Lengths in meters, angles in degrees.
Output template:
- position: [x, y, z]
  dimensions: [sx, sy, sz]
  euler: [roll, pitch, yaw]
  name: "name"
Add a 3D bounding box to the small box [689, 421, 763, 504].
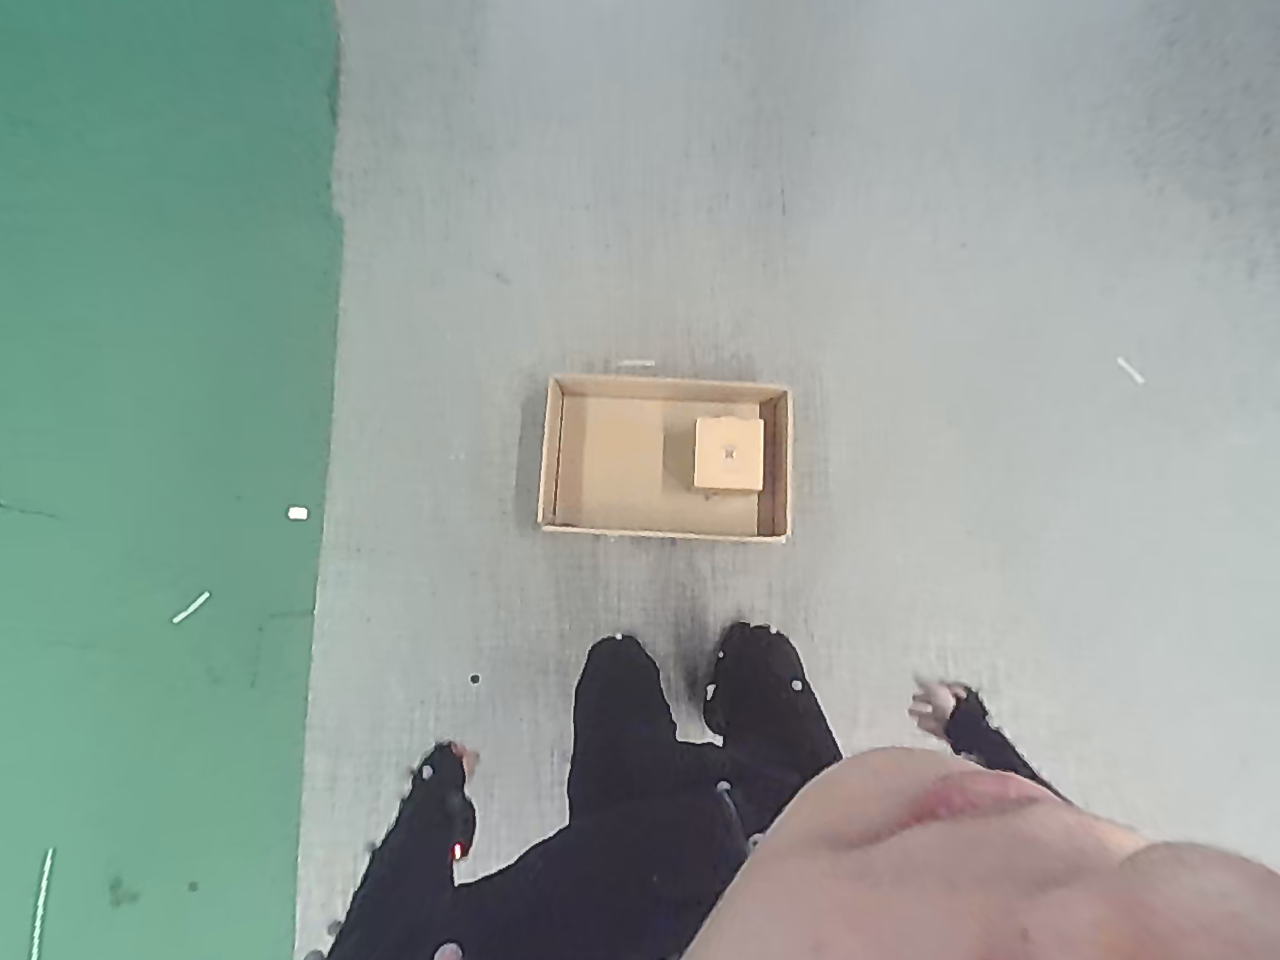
- position: [0.214, -0.040, 1.375]
  dimensions: [0.168, 0.176, 0.179]
  euler: [3, 81, 2]
  name: "small box"
